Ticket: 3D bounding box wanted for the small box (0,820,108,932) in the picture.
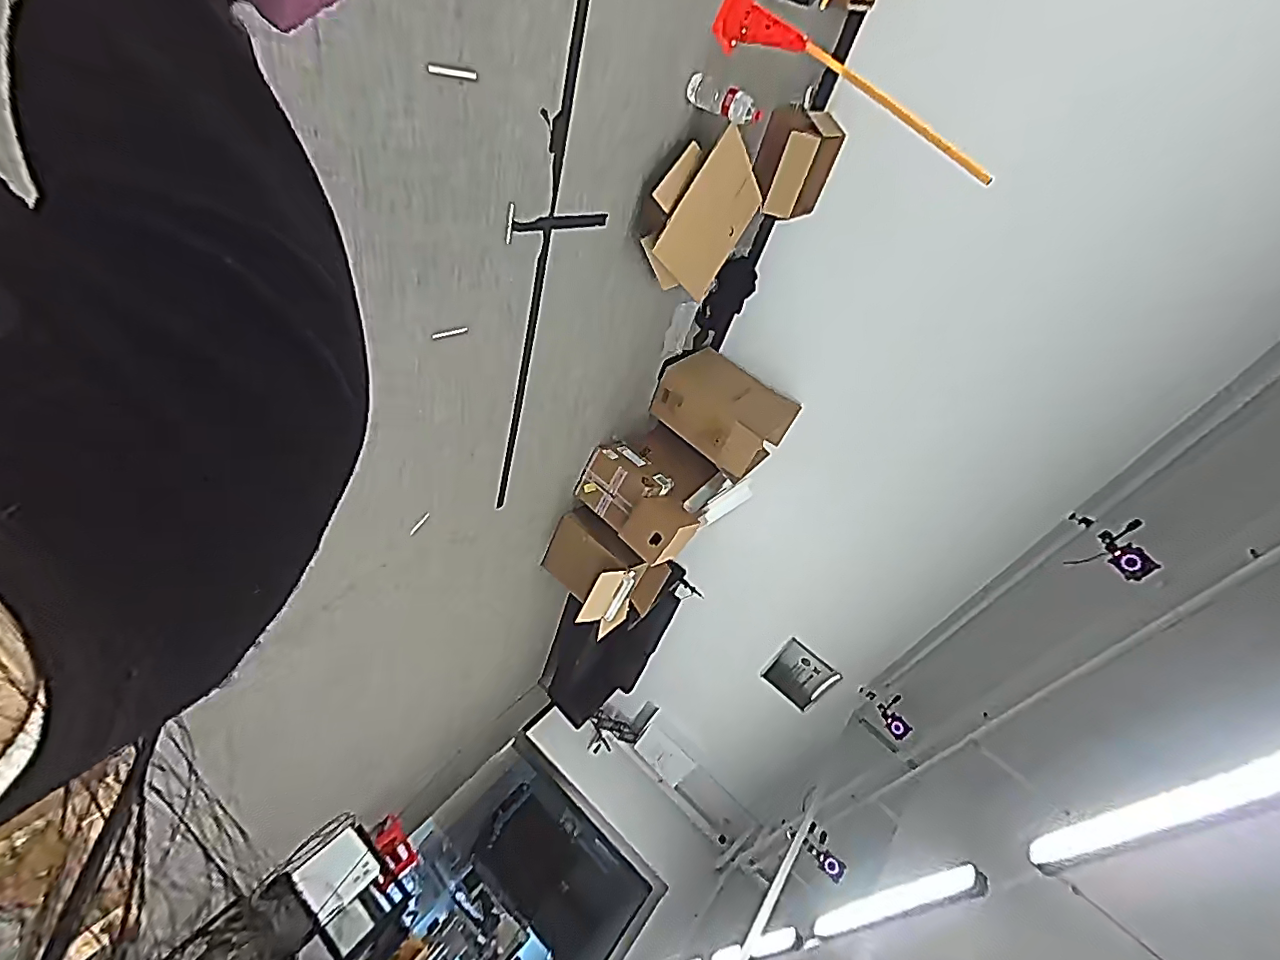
[{"bbox_3d":[-1.675,1.112,1.527,0.179,0.176,0.168,-33,152,-44],"label":"small box"}]
